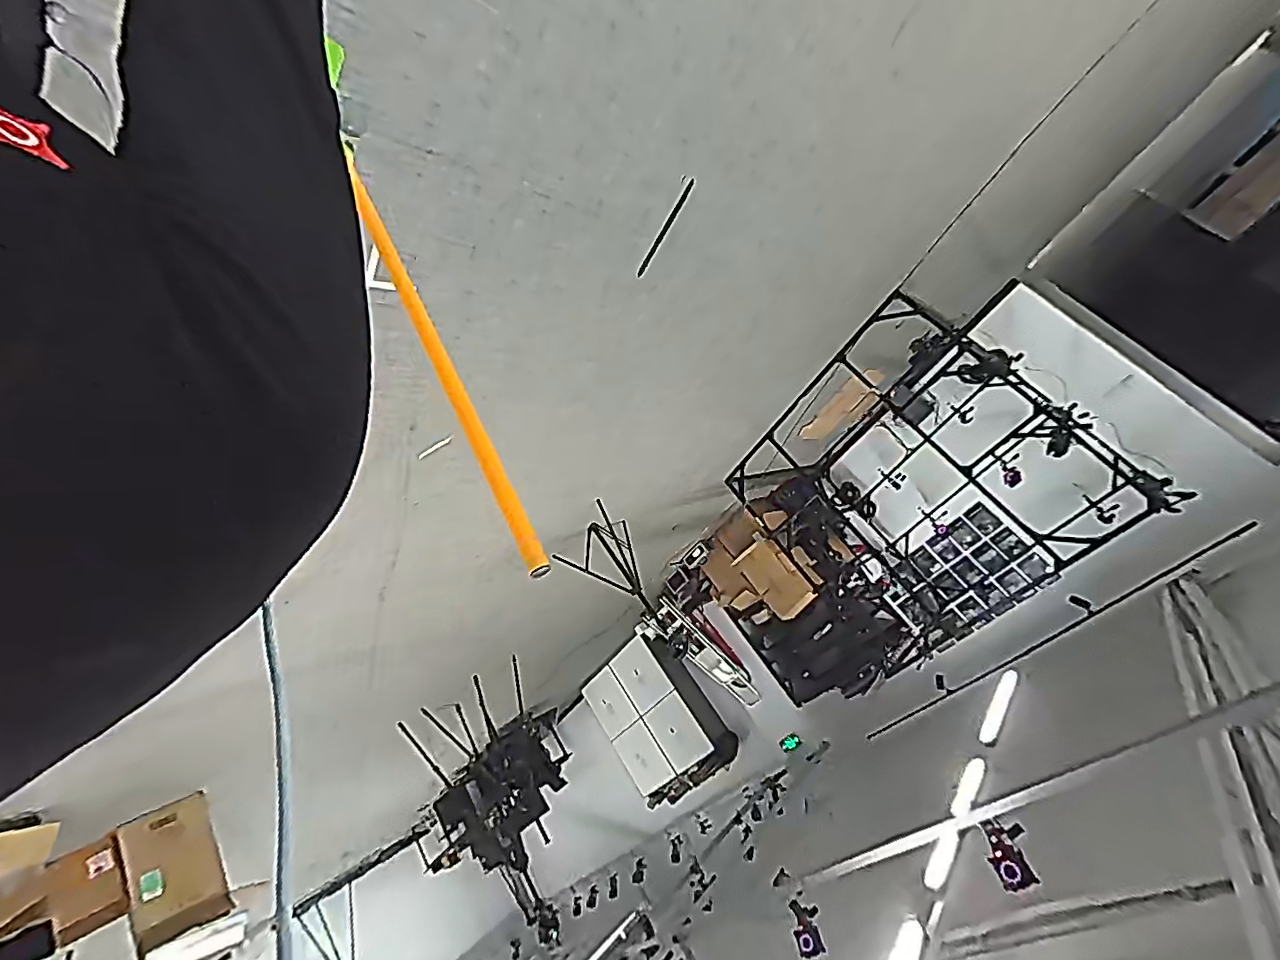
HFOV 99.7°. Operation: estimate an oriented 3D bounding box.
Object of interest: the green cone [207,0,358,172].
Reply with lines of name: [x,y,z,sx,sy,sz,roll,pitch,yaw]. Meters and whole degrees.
green cone: [-0.619,-0.683,1.002,0.202,0.368,0.200,-7,143,-54]
